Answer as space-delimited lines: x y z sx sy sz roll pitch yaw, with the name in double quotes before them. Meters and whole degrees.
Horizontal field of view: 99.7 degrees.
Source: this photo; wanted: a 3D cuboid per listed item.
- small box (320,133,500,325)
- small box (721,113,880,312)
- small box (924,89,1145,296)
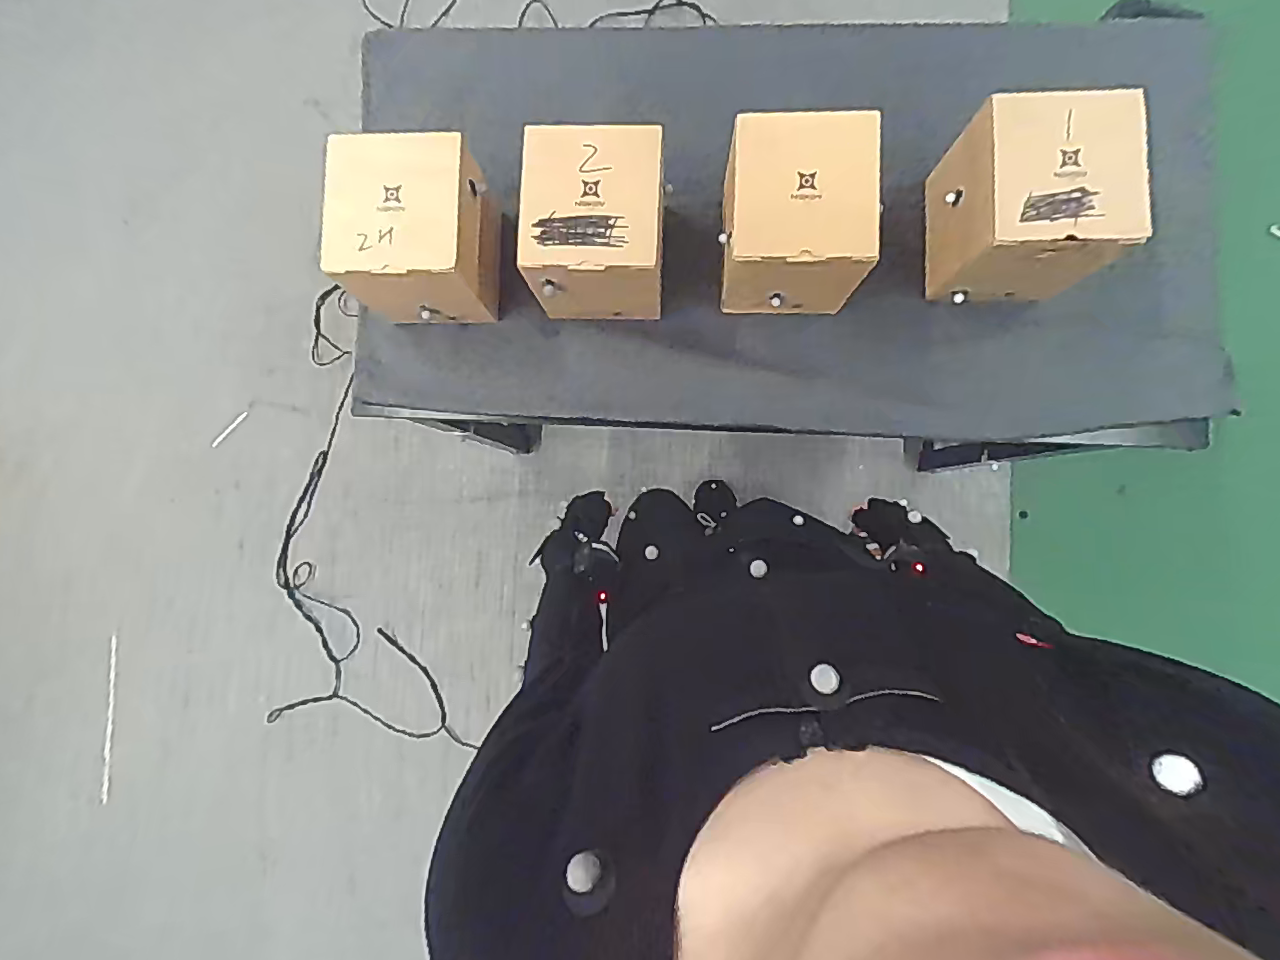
"small box" -0.292 -0.323 0.721 0.168 0.176 0.179 0 86 2
"small box" 0.195 -0.333 0.699 0.168 0.176 0.179 1 88 3
"small box" 0.477 -0.344 0.680 0.168 0.176 0.179 1 86 4
